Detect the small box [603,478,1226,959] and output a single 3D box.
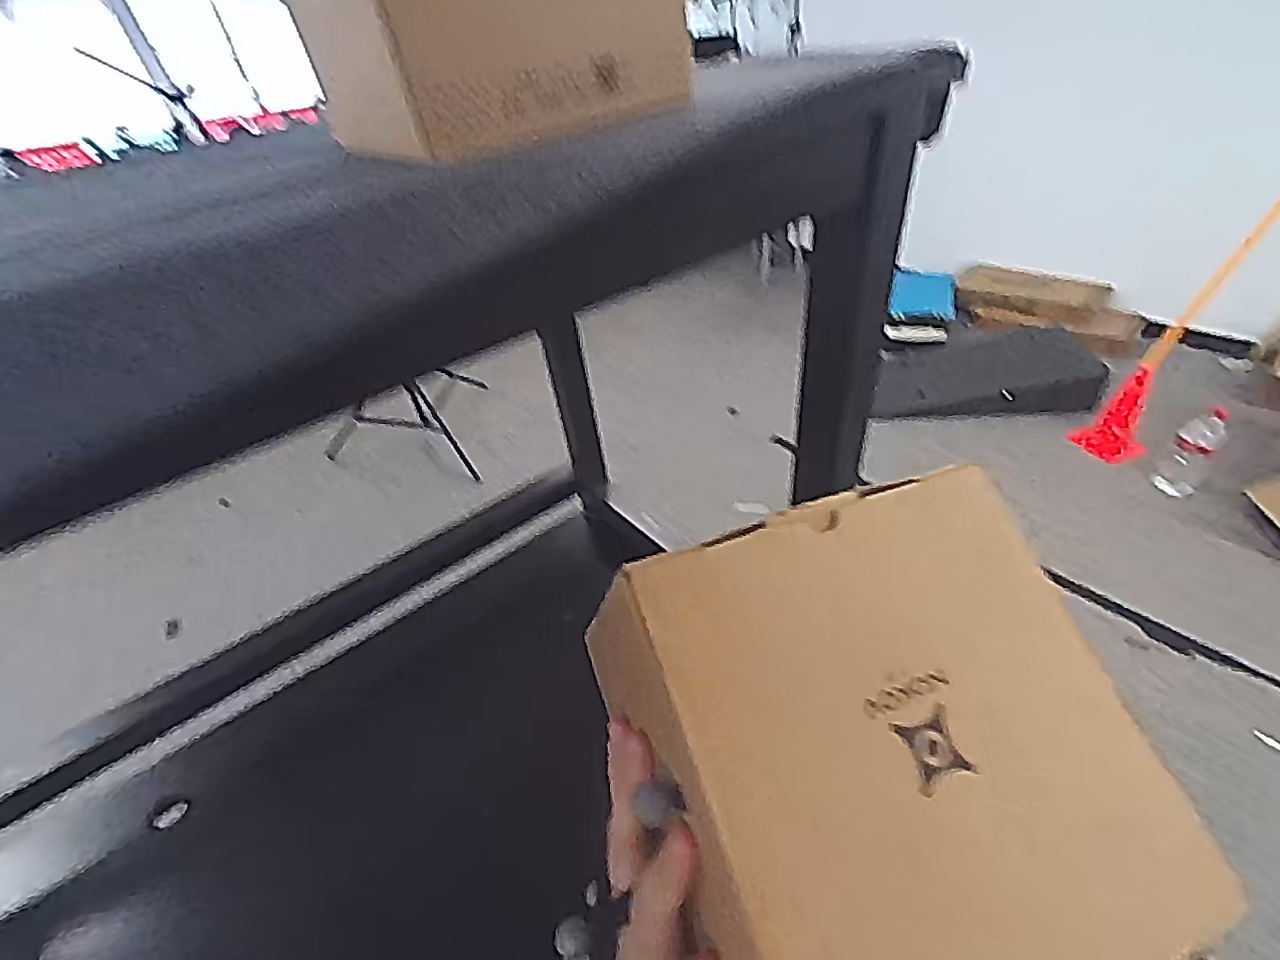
[{"bbox_3d":[0.086,0.125,0.265,0.168,0.176,0.179,-14,68,-15],"label":"small box"}]
